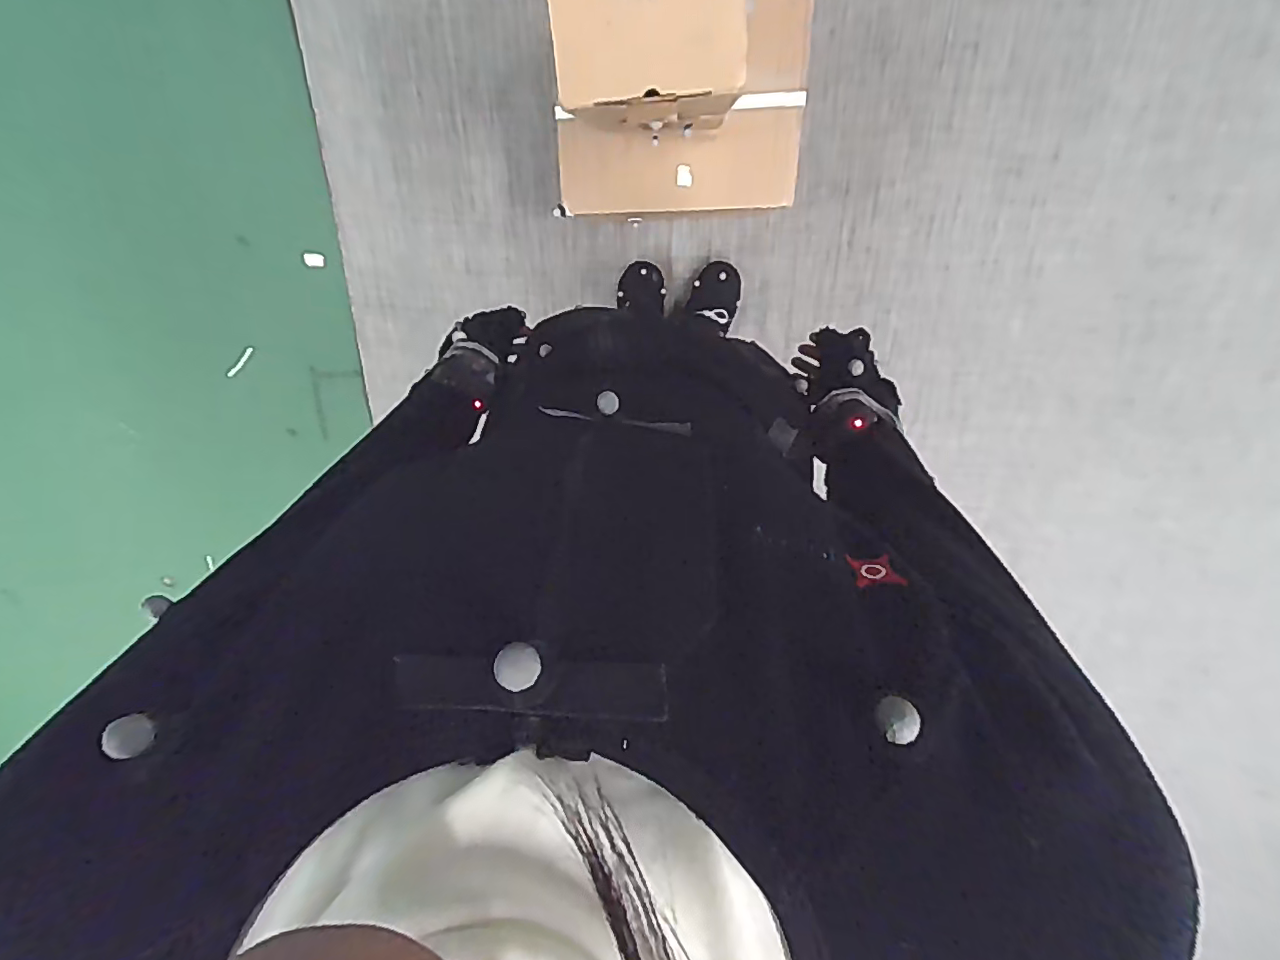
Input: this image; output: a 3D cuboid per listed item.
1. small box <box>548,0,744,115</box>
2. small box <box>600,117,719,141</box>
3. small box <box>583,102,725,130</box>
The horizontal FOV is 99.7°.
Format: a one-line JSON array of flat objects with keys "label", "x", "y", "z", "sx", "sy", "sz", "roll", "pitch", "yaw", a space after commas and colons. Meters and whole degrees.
[{"label": "small box", "x": 0.009, "y": -0.452, "z": 0.504, "sx": 0.168, "sy": 0.176, "sz": 0.179, "roll": -2, "pitch": 120, "yaw": 5}, {"label": "small box", "x": 0.034, "y": -0.603, "z": 0.790, "sx": 0.179, "sy": 0.176, "sz": 0.168, "roll": 7, "pitch": 118, "yaw": 2}, {"label": "small box", "x": 0.019, "y": -0.529, "z": 0.649, "sx": 0.168, "sy": 0.176, "sz": 0.179, "roll": 0, "pitch": 118, "yaw": 4}]
